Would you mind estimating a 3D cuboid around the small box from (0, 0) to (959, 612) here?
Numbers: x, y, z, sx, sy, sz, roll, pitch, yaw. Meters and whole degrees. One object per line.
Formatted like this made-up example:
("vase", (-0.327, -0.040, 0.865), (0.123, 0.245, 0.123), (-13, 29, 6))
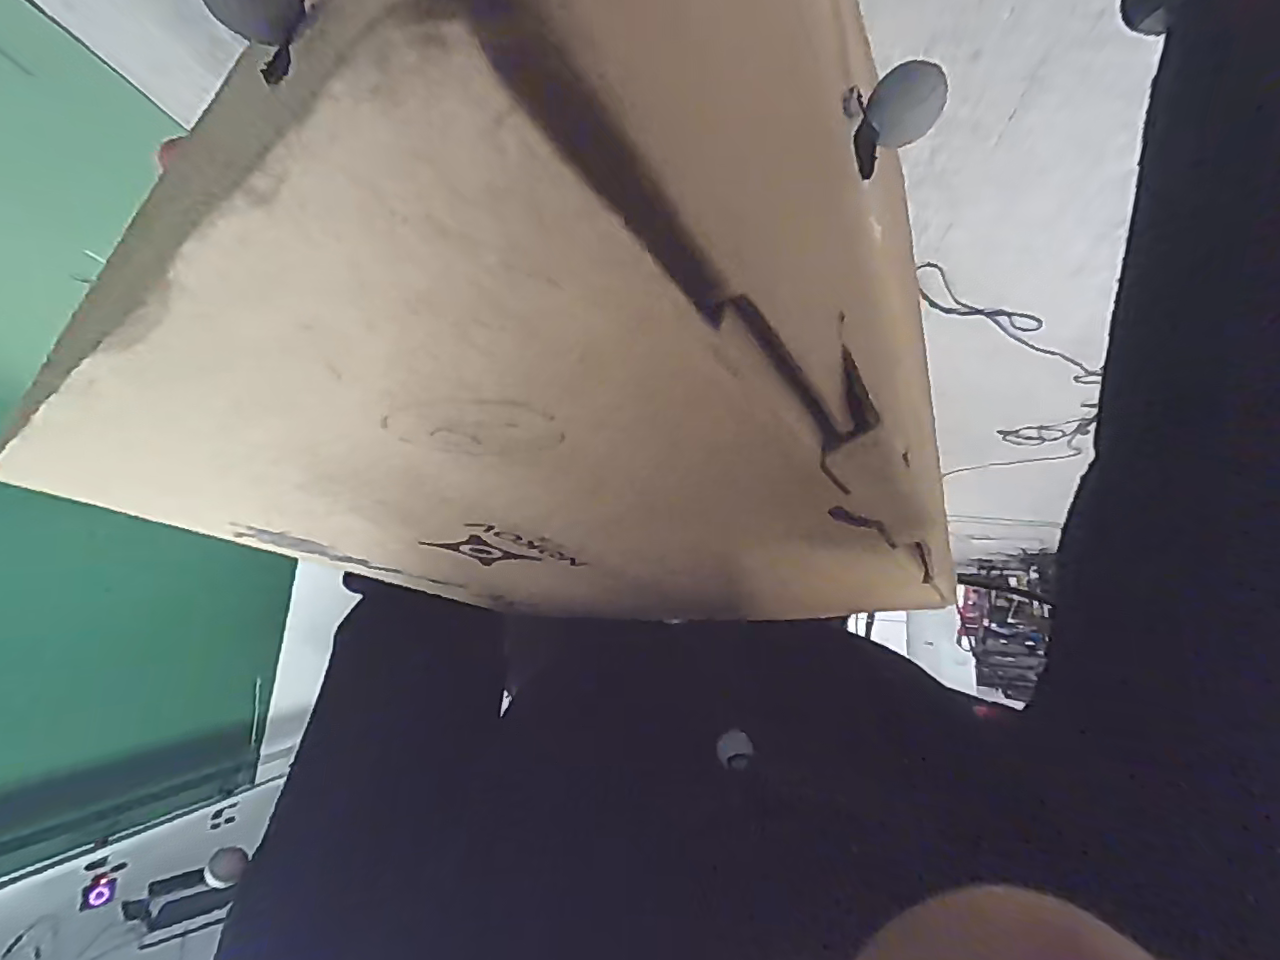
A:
("small box", (-0.024, -0.062, 0.163), (0.179, 0.176, 0.168), (-11, 152, 34))
